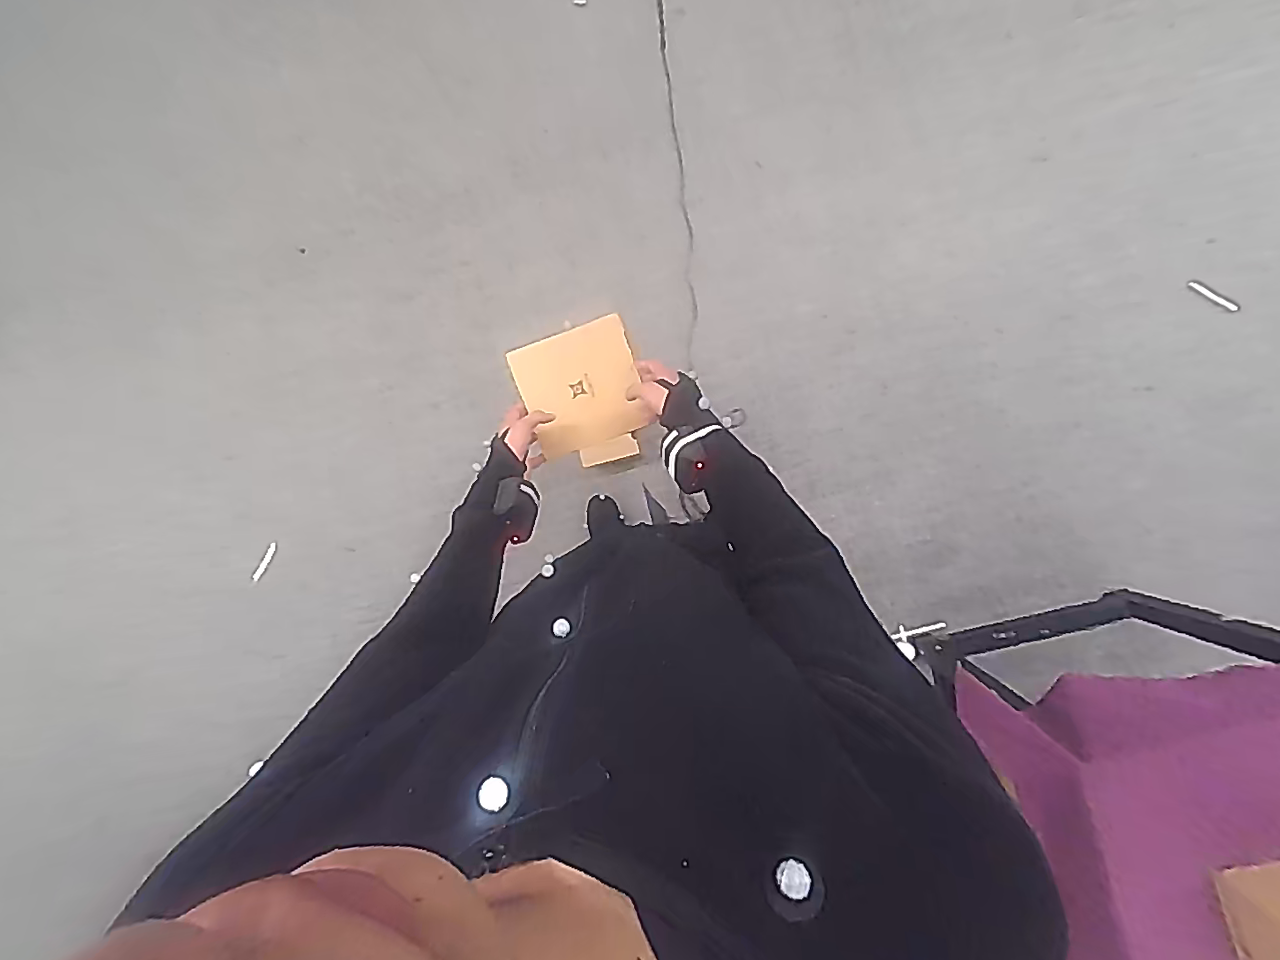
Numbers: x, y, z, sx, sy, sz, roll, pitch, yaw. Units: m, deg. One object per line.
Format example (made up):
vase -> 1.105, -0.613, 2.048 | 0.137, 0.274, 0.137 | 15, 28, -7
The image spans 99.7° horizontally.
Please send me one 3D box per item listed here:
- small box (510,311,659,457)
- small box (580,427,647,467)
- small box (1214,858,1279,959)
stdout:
small box -> -0.076, -0.148, 0.852 | 0.179, 0.176, 0.168 | -19, 99, 6
small box -> -0.084, -0.140, 1.569 | 0.168, 0.176, 0.179 | -14, 89, 7
small box -> 0.943, 0.630, 0.713 | 0.179, 0.176, 0.168 | -17, 88, 6
